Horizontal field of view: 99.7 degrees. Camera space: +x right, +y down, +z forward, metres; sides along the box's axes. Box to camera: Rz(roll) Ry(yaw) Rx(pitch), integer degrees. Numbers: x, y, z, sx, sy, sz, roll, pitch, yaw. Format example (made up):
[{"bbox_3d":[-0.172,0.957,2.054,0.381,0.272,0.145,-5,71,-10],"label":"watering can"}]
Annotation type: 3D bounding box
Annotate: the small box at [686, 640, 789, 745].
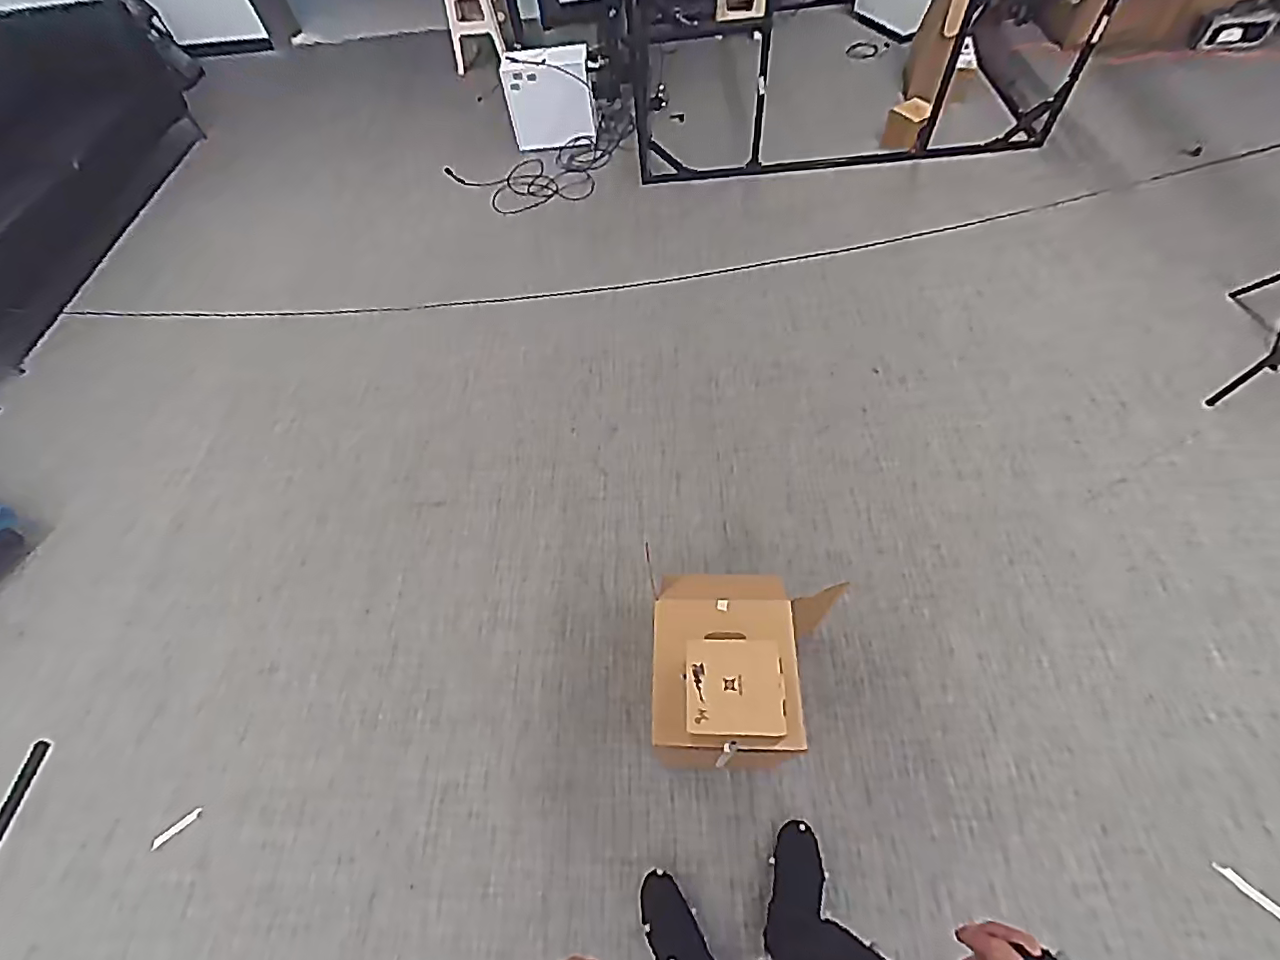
[{"bbox_3d":[0.179,0.412,1.043,0.179,0.176,0.168,0,60,5],"label":"small box"}]
